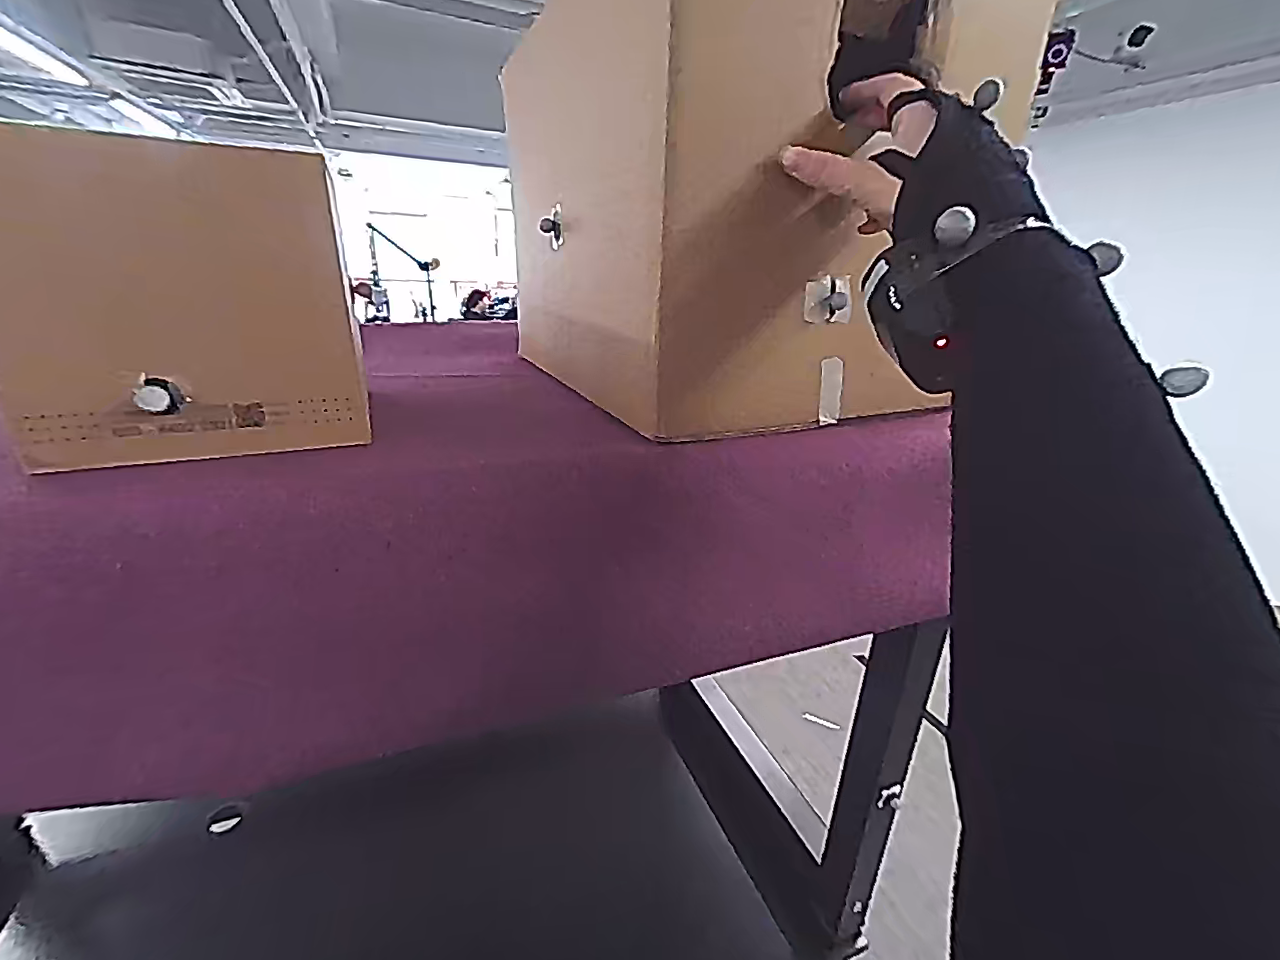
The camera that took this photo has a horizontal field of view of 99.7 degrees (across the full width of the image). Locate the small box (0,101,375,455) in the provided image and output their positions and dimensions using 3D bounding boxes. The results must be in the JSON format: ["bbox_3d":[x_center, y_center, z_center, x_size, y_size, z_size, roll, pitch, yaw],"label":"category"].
[{"bbox_3d":[-0.279,-0.123,0.357,0.168,0.176,0.179,-9,24,-24],"label":"small box"}]

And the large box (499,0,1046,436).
[{"bbox_3d":[0.069,-0.252,0.532,0.320,0.320,0.408,-8,22,-24],"label":"large box"}]
